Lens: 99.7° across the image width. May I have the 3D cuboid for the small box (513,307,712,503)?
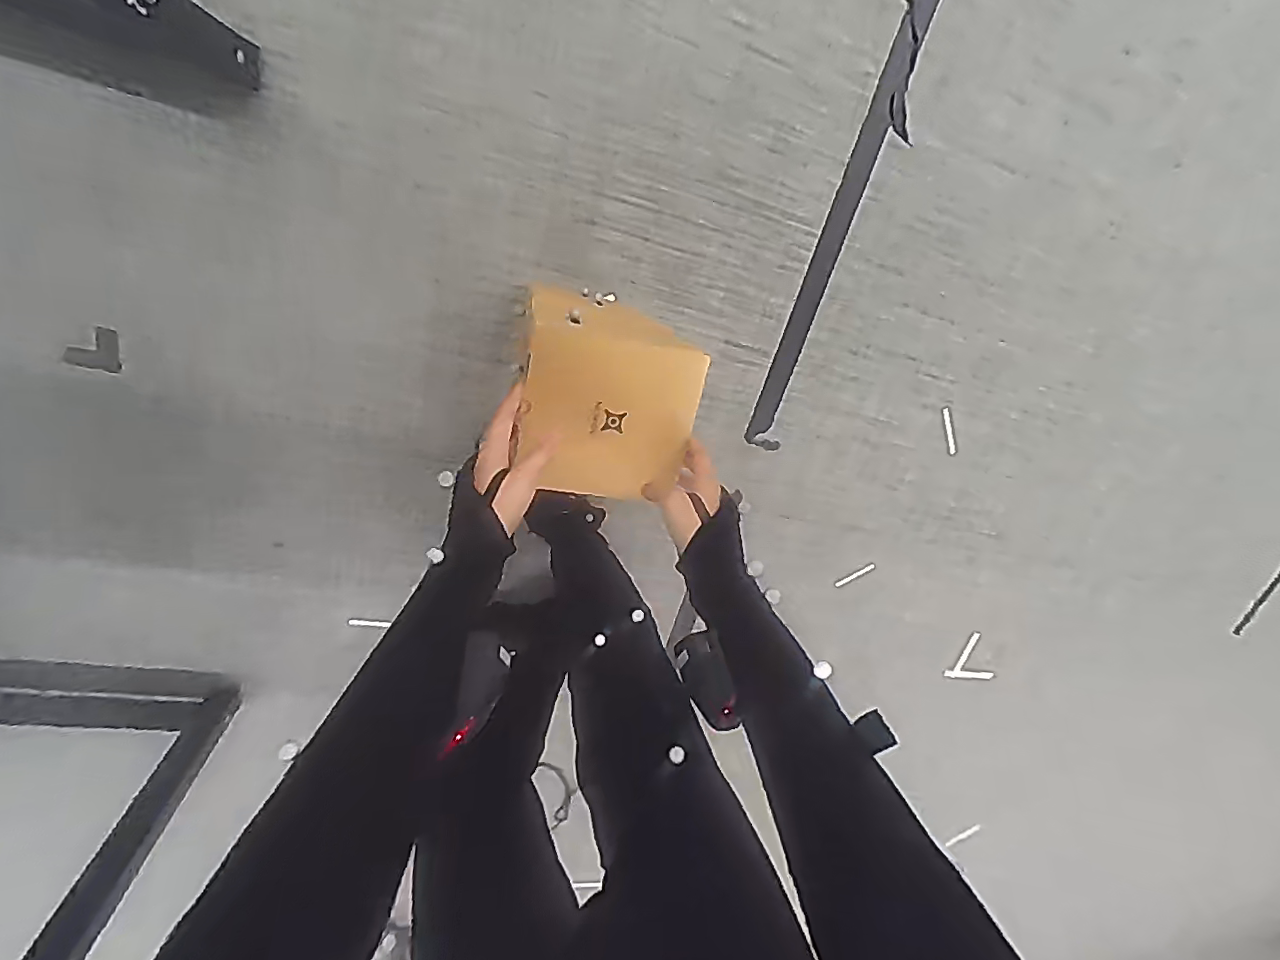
[{"bbox_3d":[-0.043,-0.090,0.605,0.179,0.176,0.168,7,111,-14],"label":"small box"}]

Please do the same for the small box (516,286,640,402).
[{"bbox_3d":[-0.111,-0.215,0.900,0.168,0.176,0.179,9,111,-15],"label":"small box"}]
